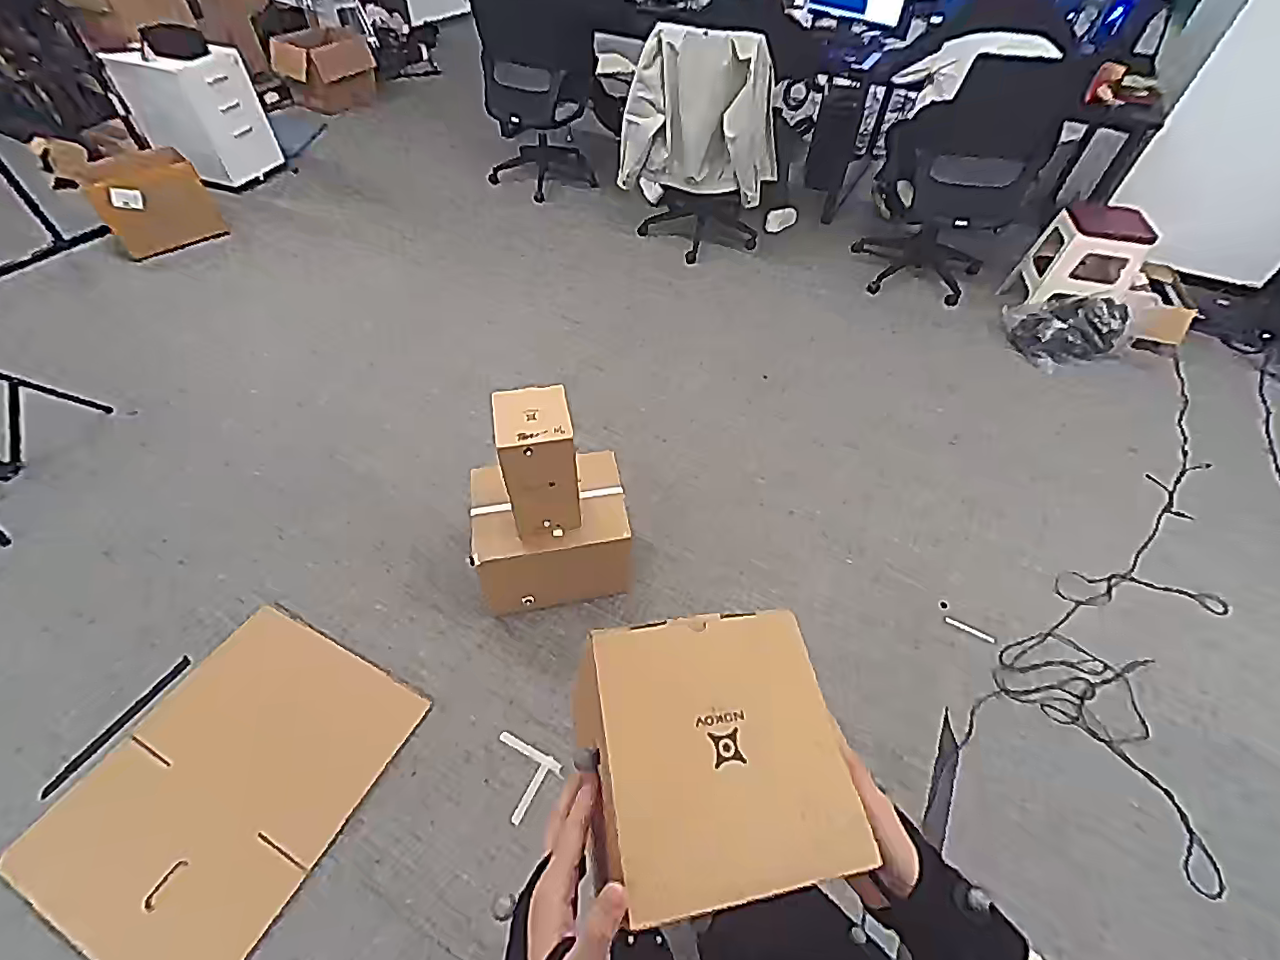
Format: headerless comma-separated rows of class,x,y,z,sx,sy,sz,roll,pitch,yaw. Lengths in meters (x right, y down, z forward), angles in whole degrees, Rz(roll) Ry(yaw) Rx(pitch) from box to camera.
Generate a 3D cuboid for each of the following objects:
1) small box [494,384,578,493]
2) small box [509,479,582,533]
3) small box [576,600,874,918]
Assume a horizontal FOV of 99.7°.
small box,-0.238,-0.095,1.249,0.168,0.176,0.179,-9,51,-9
small box,-0.243,0.010,1.375,0.168,0.176,0.179,-9,53,-9
small box,0.043,0.217,0.431,0.168,0.176,0.179,-3,54,-14
